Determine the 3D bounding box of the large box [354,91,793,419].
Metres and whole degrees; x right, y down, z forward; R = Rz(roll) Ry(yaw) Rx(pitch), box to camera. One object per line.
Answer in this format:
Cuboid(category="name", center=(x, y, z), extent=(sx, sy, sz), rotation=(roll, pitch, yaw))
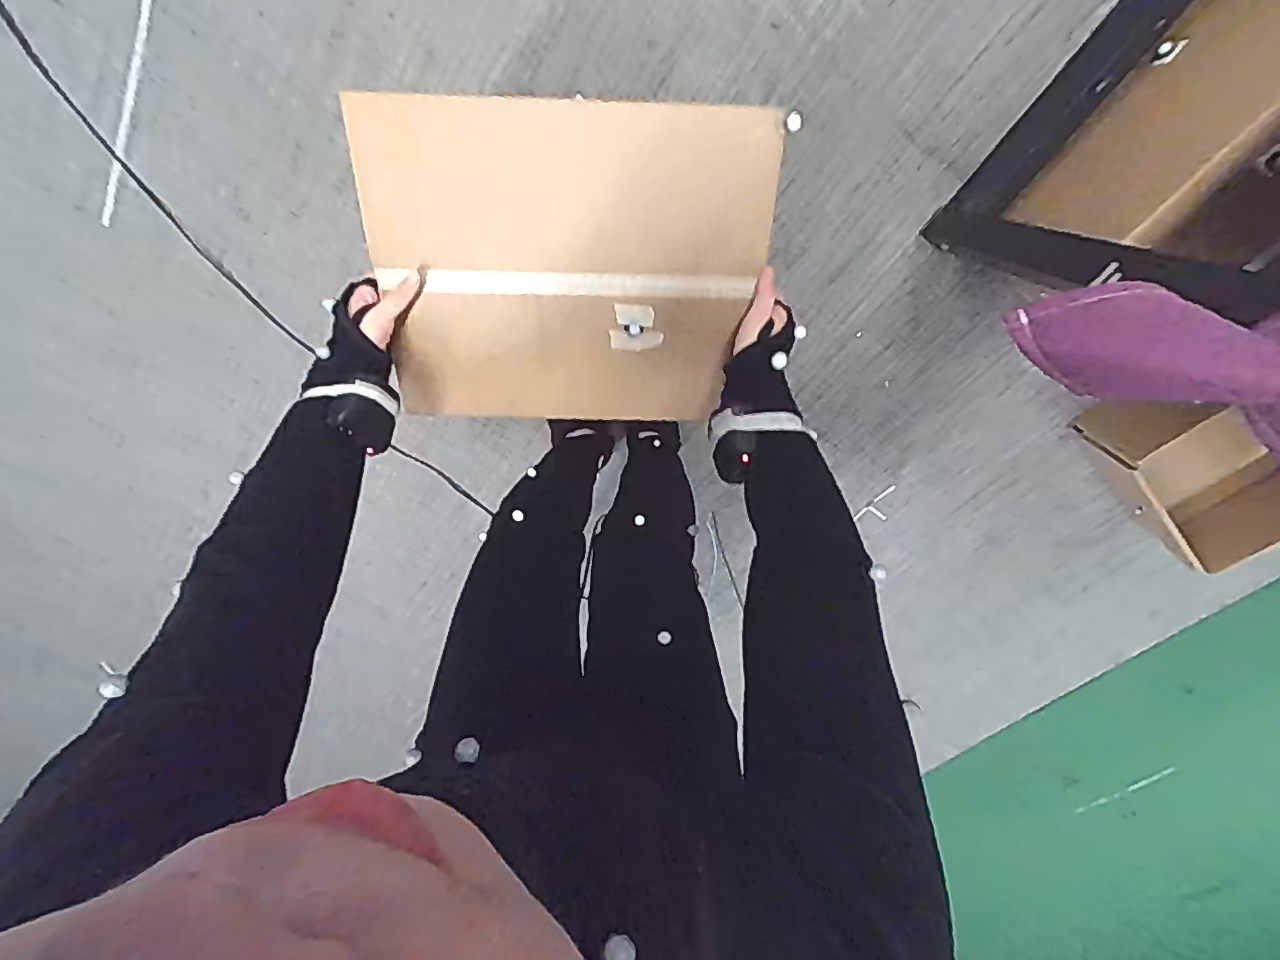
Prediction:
Cuboid(category="large box", center=(-0.069, -0.281, 0.689), extent=(0.408, 0.320, 0.320), rotation=(1, 121, -3))
